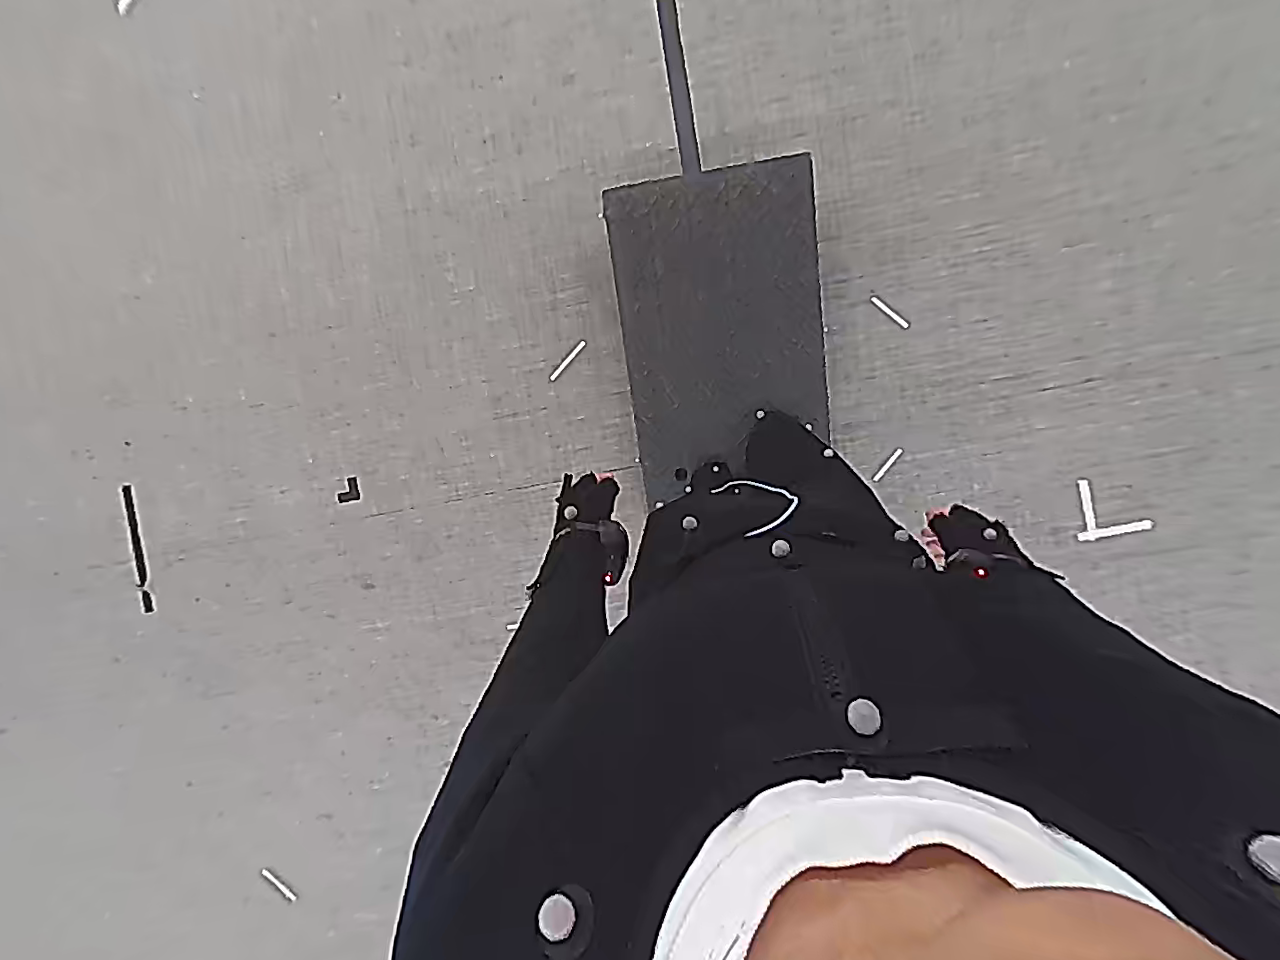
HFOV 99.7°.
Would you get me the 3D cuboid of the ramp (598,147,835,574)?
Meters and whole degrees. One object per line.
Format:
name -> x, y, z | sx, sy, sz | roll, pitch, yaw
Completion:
ramp -> 0.216, -0.247, 1.368 | 0.509, 0.206, 0.991 | -9, 94, 6
